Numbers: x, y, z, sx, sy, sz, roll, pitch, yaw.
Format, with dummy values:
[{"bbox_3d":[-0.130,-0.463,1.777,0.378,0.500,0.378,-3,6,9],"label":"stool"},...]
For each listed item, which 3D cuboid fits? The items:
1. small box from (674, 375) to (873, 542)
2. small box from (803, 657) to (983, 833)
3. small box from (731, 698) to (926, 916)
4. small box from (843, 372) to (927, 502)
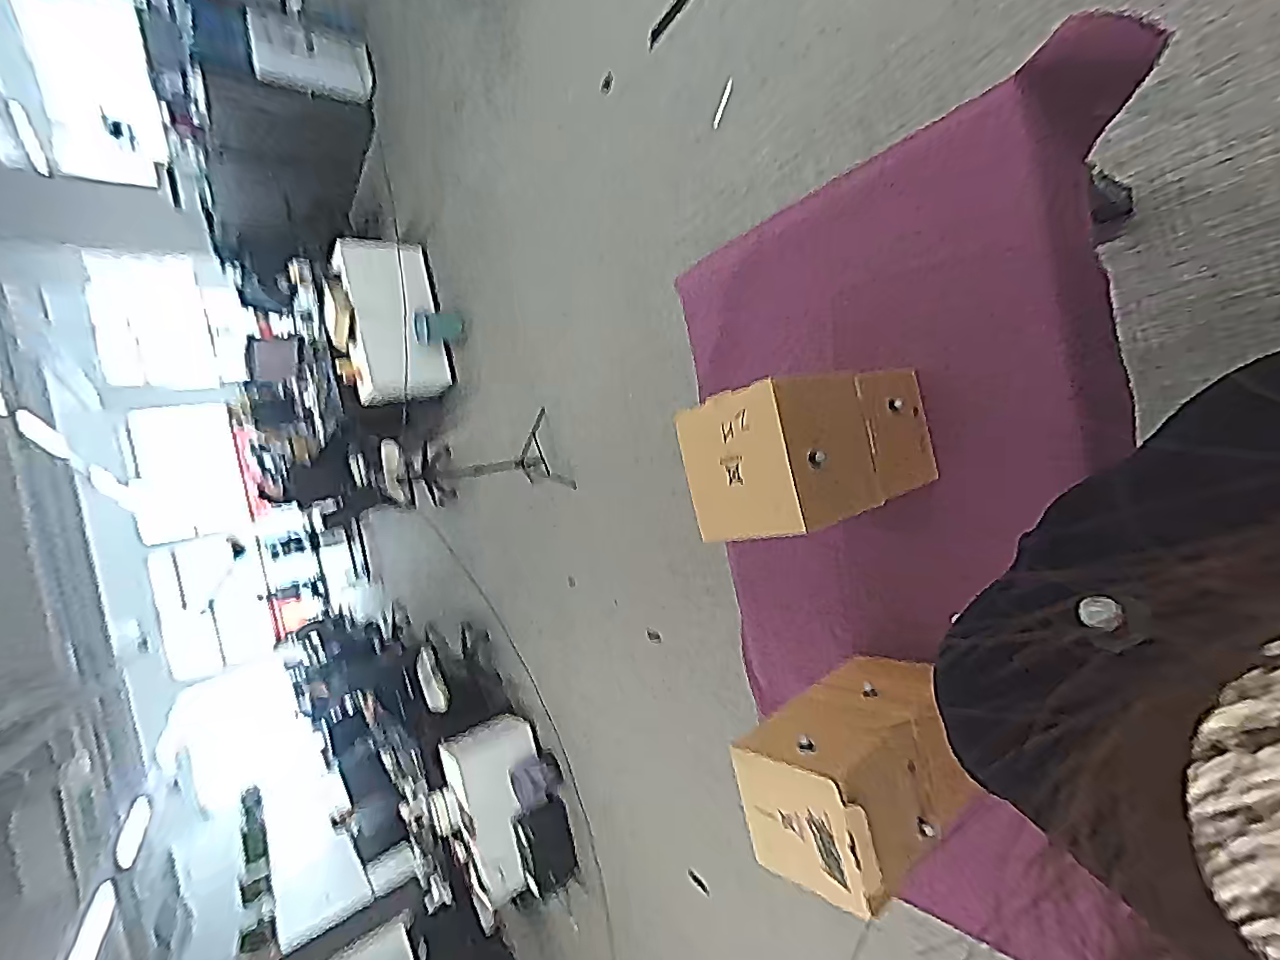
[{"bbox_3d":[0.174,-0.028,0.698,0.168,0.176,0.179,-14,89,52],"label":"small box"},{"bbox_3d":[0.384,0.384,0.825,0.179,0.176,0.168,-14,89,52],"label":"small box"},{"bbox_3d":[0.256,0.414,0.725,0.179,0.176,0.168,-16,87,53],"label":"small box"},{"bbox_3d":[0.299,-0.057,0.801,0.179,0.176,0.168,-12,90,53],"label":"small box"}]
